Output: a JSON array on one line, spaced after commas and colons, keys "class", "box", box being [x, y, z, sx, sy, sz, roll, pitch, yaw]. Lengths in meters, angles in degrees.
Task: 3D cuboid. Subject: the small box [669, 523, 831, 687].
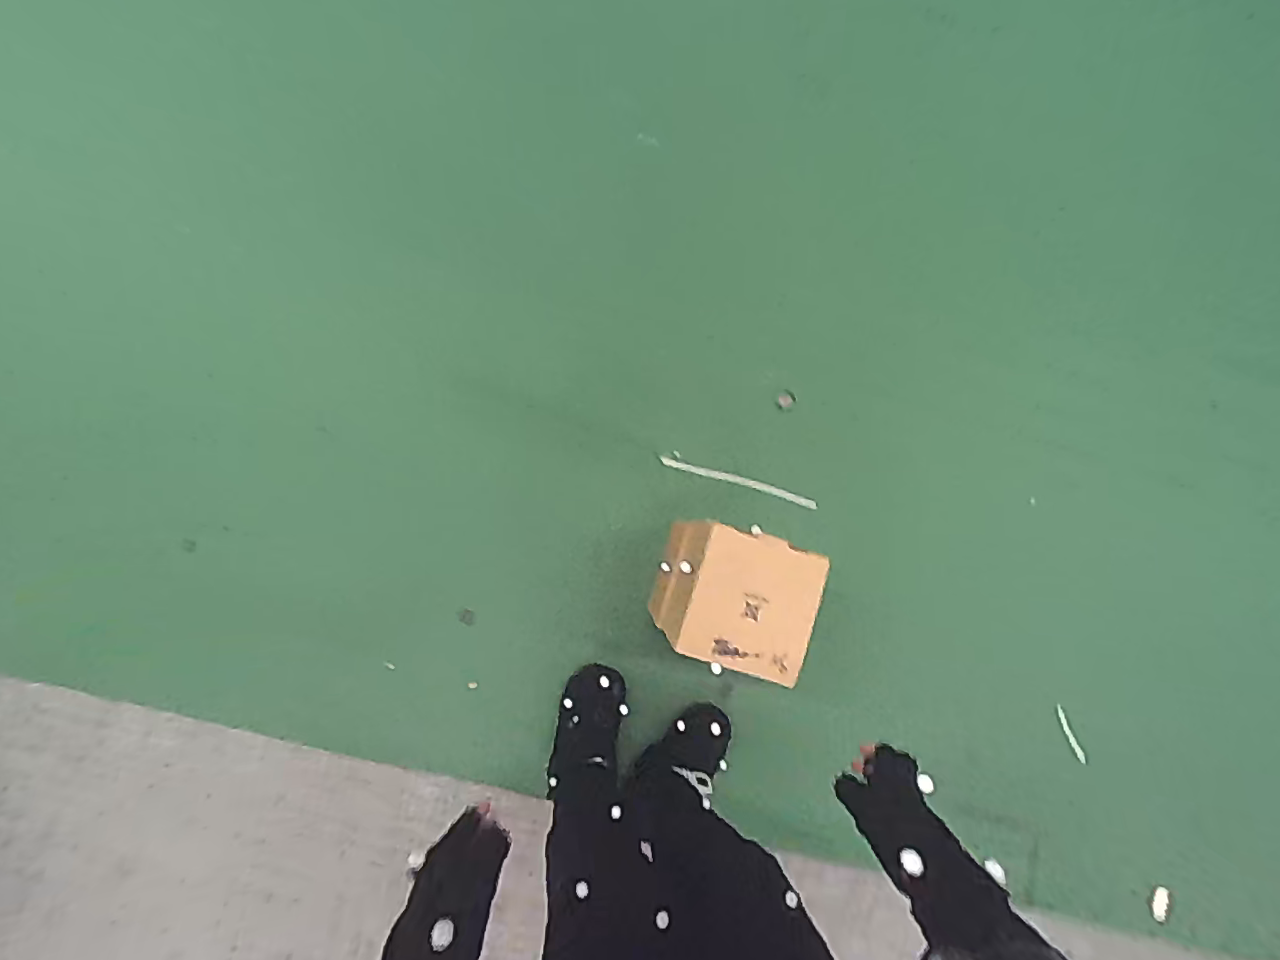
[{"class": "small box", "box": [0.148, 0.170, 0.790, 0.168, 0.176, 0.179, 18, 84, -2]}]

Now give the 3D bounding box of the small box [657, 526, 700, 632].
[{"class": "small box", "box": [0.132, 0.184, 0.953, 0.168, 0.176, 0.179, 17, 87, -2]}]
